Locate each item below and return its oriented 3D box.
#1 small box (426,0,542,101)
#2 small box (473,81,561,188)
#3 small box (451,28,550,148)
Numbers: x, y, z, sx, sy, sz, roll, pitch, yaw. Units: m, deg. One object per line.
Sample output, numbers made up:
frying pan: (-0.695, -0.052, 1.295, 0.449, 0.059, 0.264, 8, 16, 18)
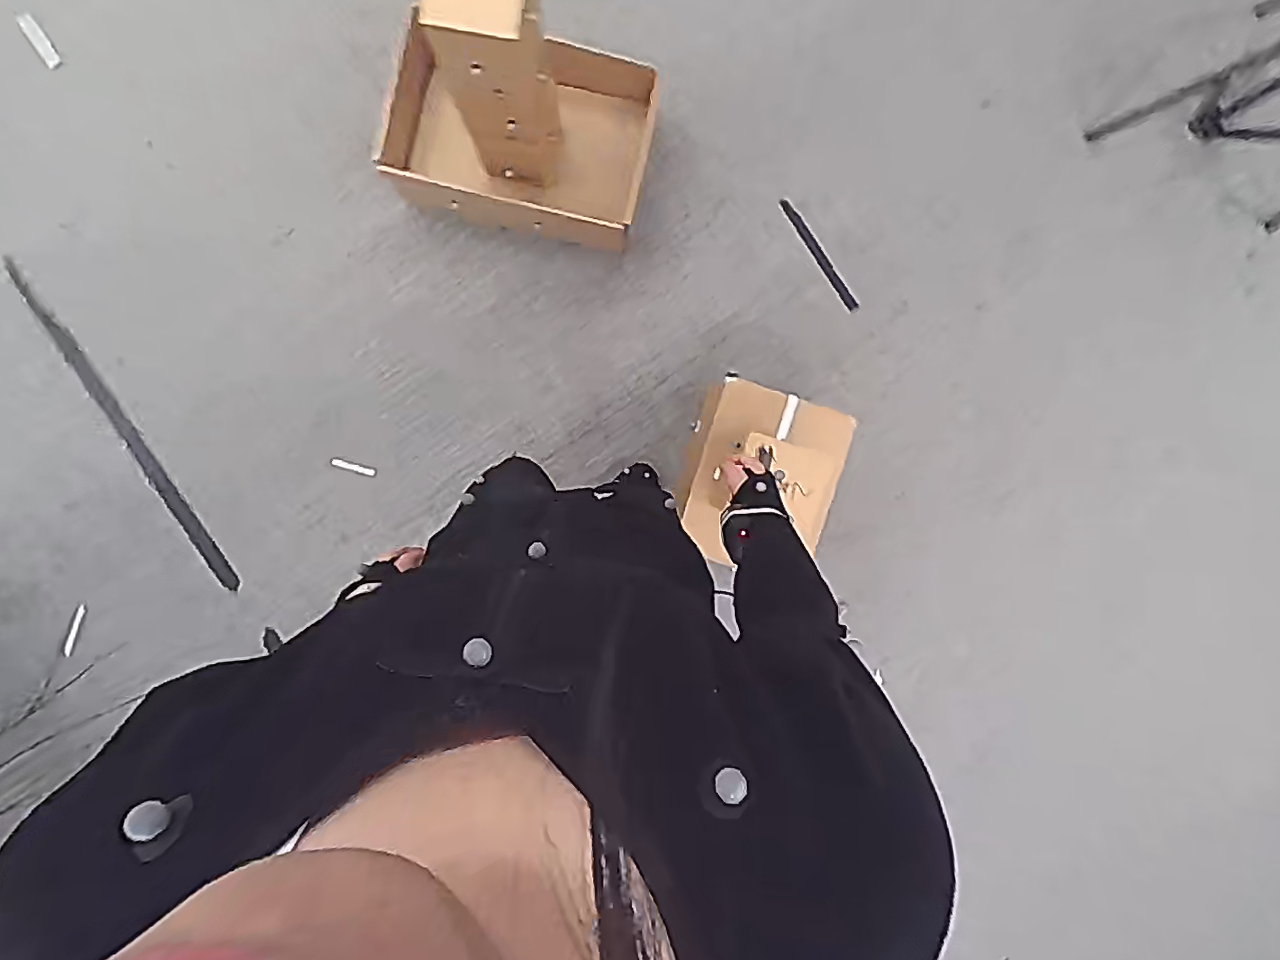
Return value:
small box: (-0.282, -0.856, 1.011, 0.168, 0.176, 0.179, 8, 92, -4)
small box: (-0.296, -0.865, 1.338, 0.168, 0.176, 0.179, 13, 92, -3)
small box: (-0.295, -0.864, 1.176, 0.168, 0.176, 0.179, 8, 90, -4)
